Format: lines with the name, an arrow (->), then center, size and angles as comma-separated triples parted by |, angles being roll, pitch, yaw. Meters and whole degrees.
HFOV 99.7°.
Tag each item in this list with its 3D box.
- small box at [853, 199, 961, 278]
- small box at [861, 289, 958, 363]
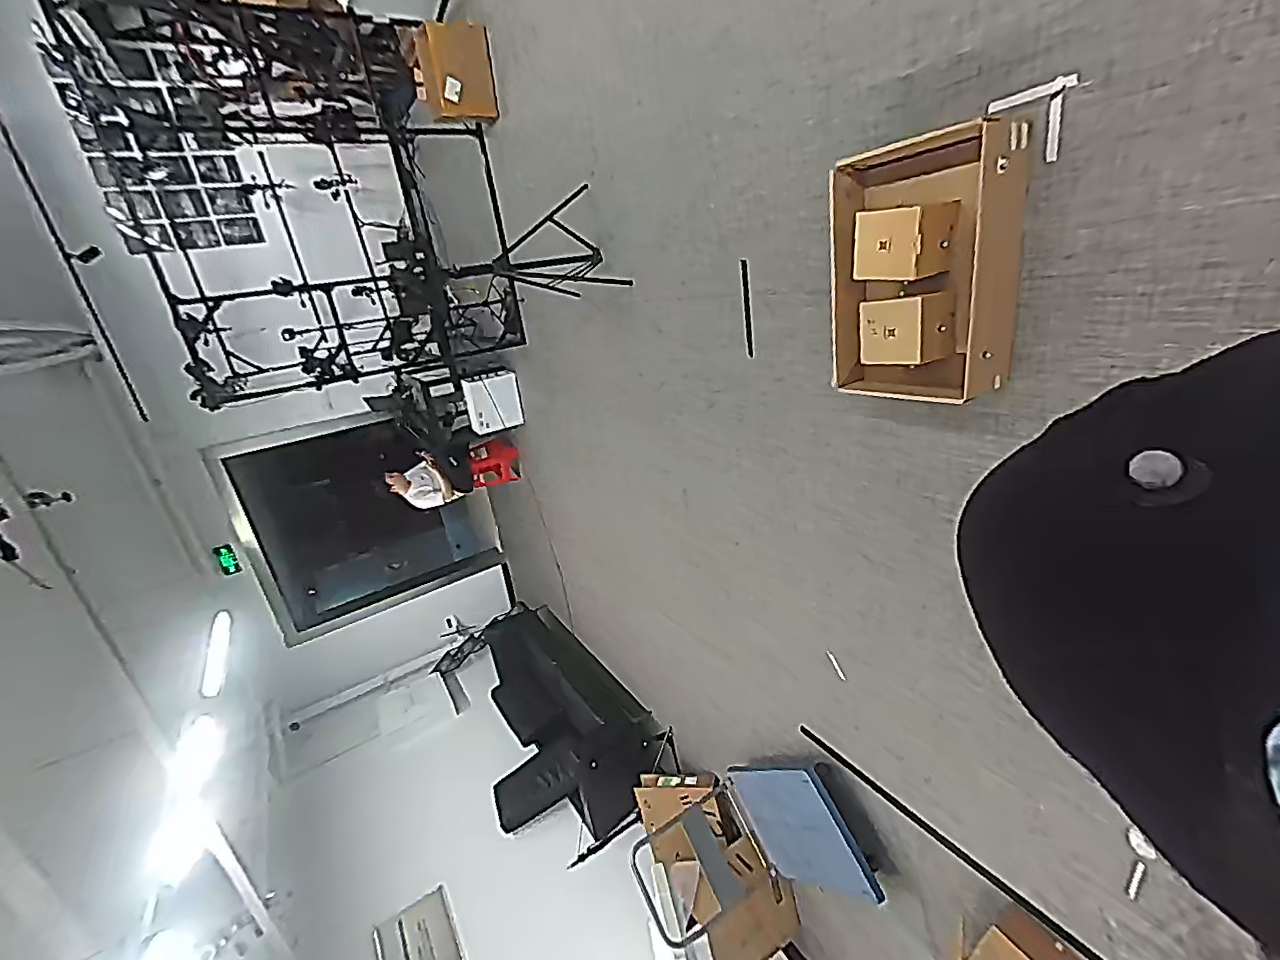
small box -> 0.678, -0.617, 1.383 | 0.179, 0.176, 0.168 | 29, 133, 51
small box -> 0.717, -0.411, 1.441 | 0.179, 0.176, 0.168 | 20, 123, 55
